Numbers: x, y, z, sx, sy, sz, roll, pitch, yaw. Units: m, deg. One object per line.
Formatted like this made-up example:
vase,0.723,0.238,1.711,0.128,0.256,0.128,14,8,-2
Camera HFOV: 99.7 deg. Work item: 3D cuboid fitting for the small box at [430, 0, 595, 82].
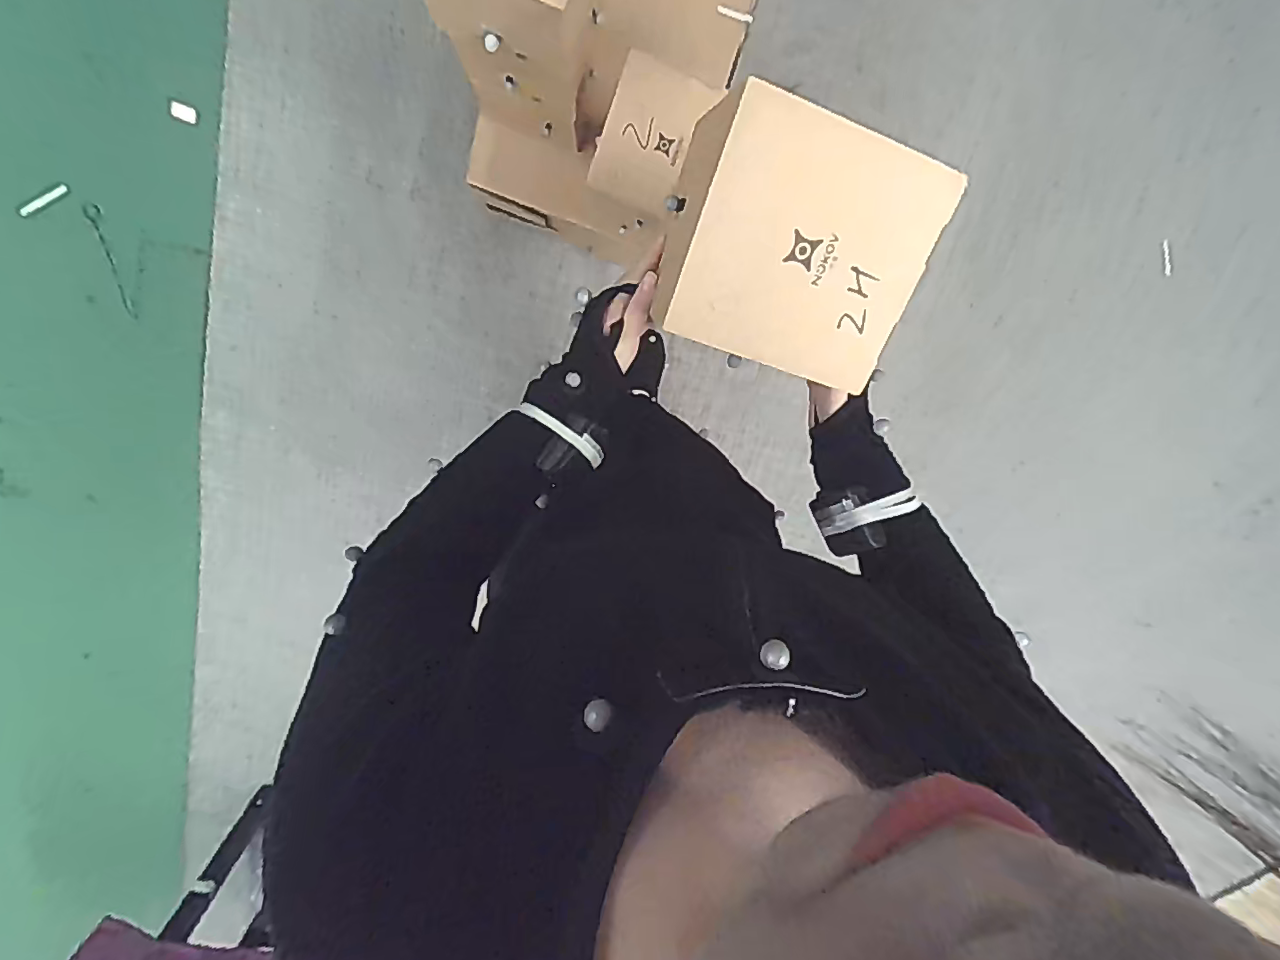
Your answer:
small box,-0.128,-0.565,0.556,0.168,0.176,0.179,17,105,-10

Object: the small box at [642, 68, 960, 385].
small box,0.110,-0.201,0.459,0.179,0.176,0.168,15,113,-13

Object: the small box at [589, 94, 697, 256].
small box,0.013,-0.501,0.925,0.168,0.176,0.179,19,103,-10

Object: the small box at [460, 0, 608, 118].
small box,-0.139,-0.623,0.709,0.168,0.176,0.179,17,105,-10

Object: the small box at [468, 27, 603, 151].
small box,-0.158,-0.666,0.866,0.168,0.176,0.179,17,103,-10
